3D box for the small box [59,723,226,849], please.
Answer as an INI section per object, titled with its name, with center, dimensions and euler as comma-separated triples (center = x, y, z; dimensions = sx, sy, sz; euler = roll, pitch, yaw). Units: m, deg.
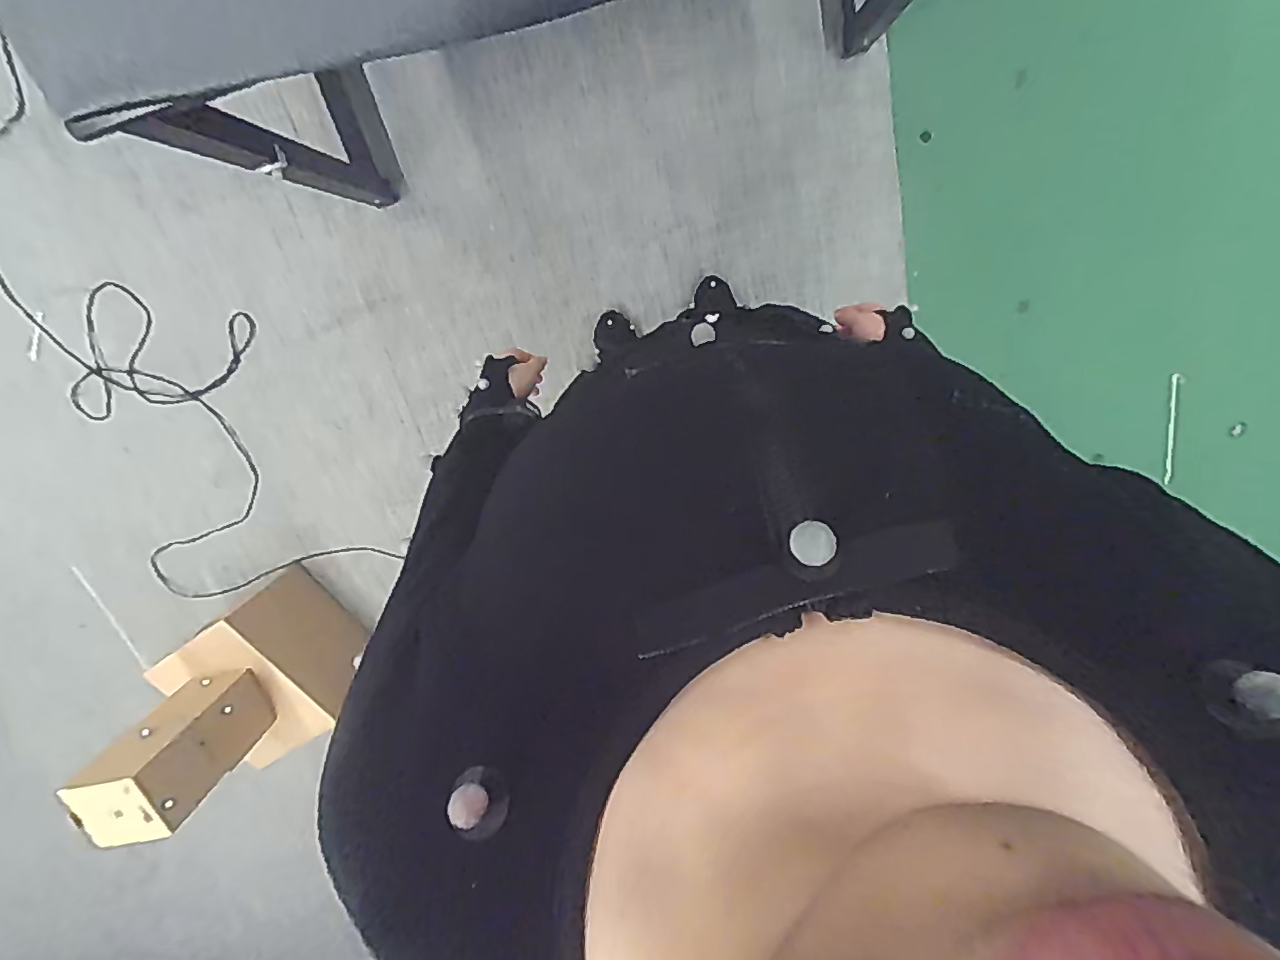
[small box]
center = -1.074, 0.663, 1.184
dimensions = 0.179, 0.176, 0.168
euler = -12, 109, 6
